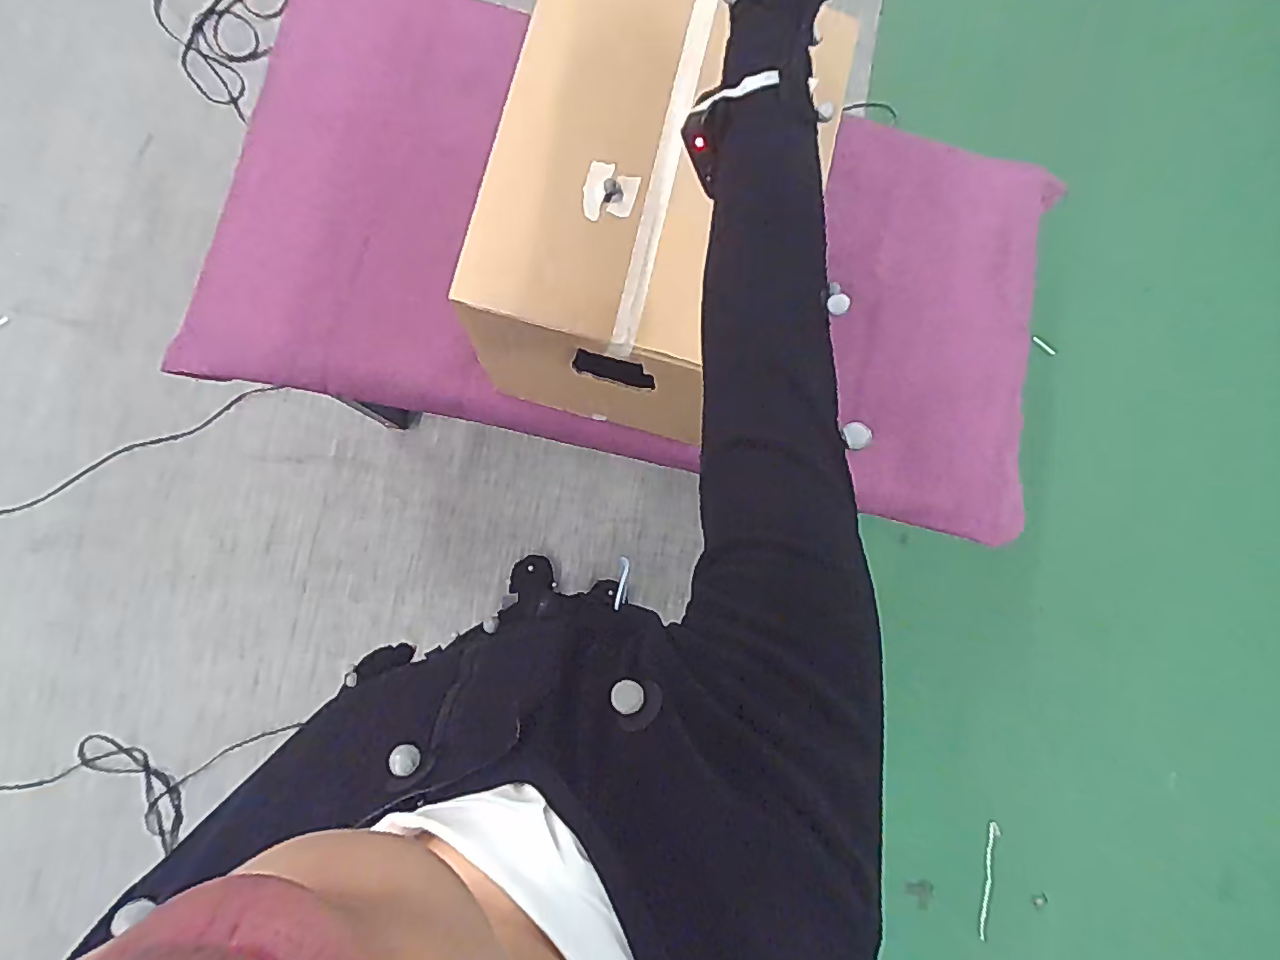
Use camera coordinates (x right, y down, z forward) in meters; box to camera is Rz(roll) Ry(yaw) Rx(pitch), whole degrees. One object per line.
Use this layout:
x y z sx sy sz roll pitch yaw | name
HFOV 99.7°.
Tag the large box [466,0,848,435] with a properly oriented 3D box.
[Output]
0.009 -0.306 0.673 0.320 0.320 0.408 15 83 -6 | large box
